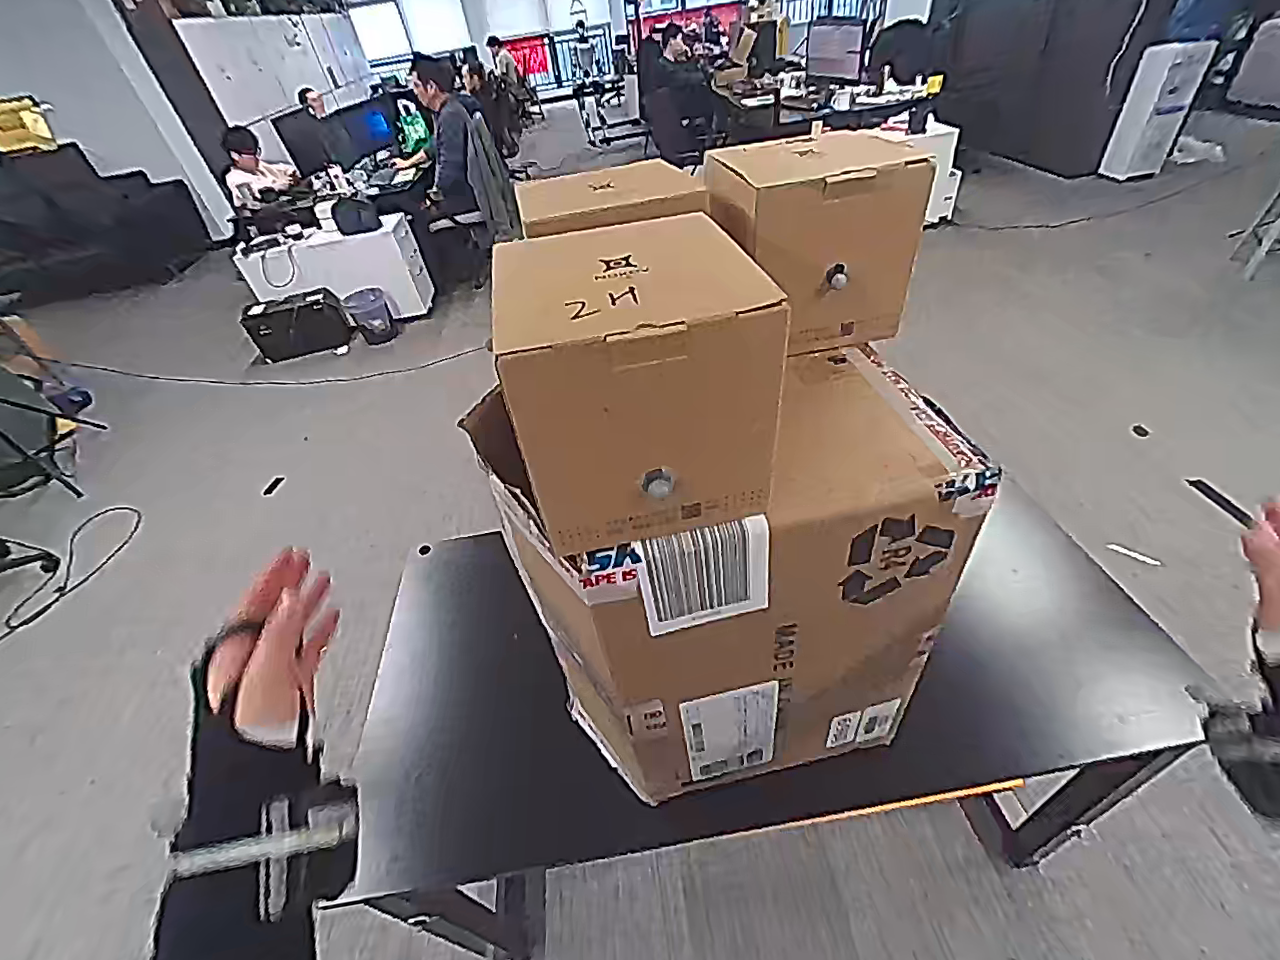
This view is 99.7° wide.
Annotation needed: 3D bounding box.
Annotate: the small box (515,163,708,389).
[{"bbox_3d":[-0.031,-0.221,0.581,0.168,0.176,0.179,-14,41,-6],"label":"small box"}]
